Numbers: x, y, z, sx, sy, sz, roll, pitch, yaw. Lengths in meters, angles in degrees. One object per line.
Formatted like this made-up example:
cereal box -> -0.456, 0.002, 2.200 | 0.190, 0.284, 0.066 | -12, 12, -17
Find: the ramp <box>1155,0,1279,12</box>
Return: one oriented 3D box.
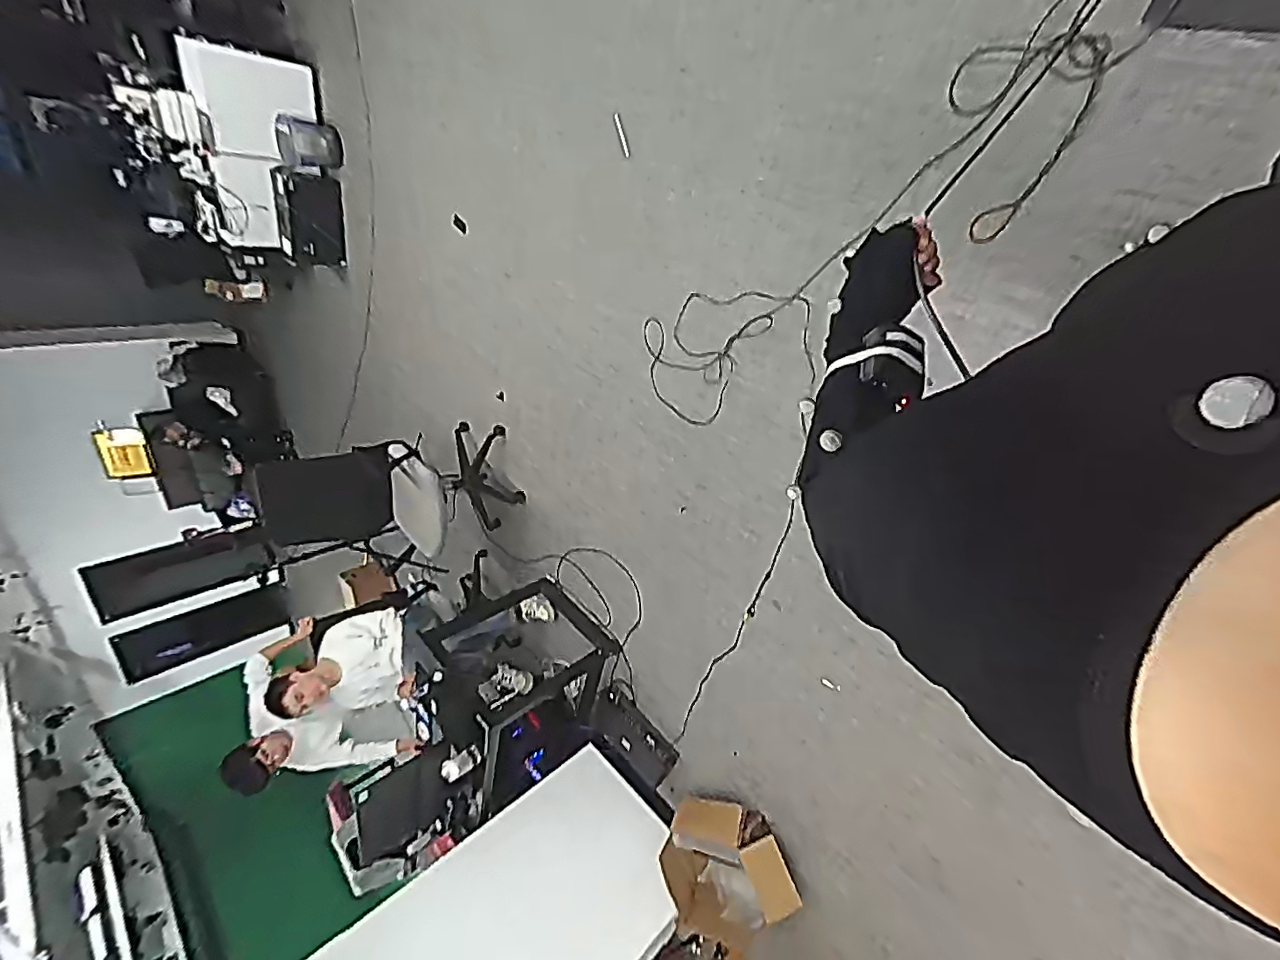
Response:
ramp -> 1.119, -1.108, 0.524 | 0.509, 0.206, 0.991 | 33, 127, 31
